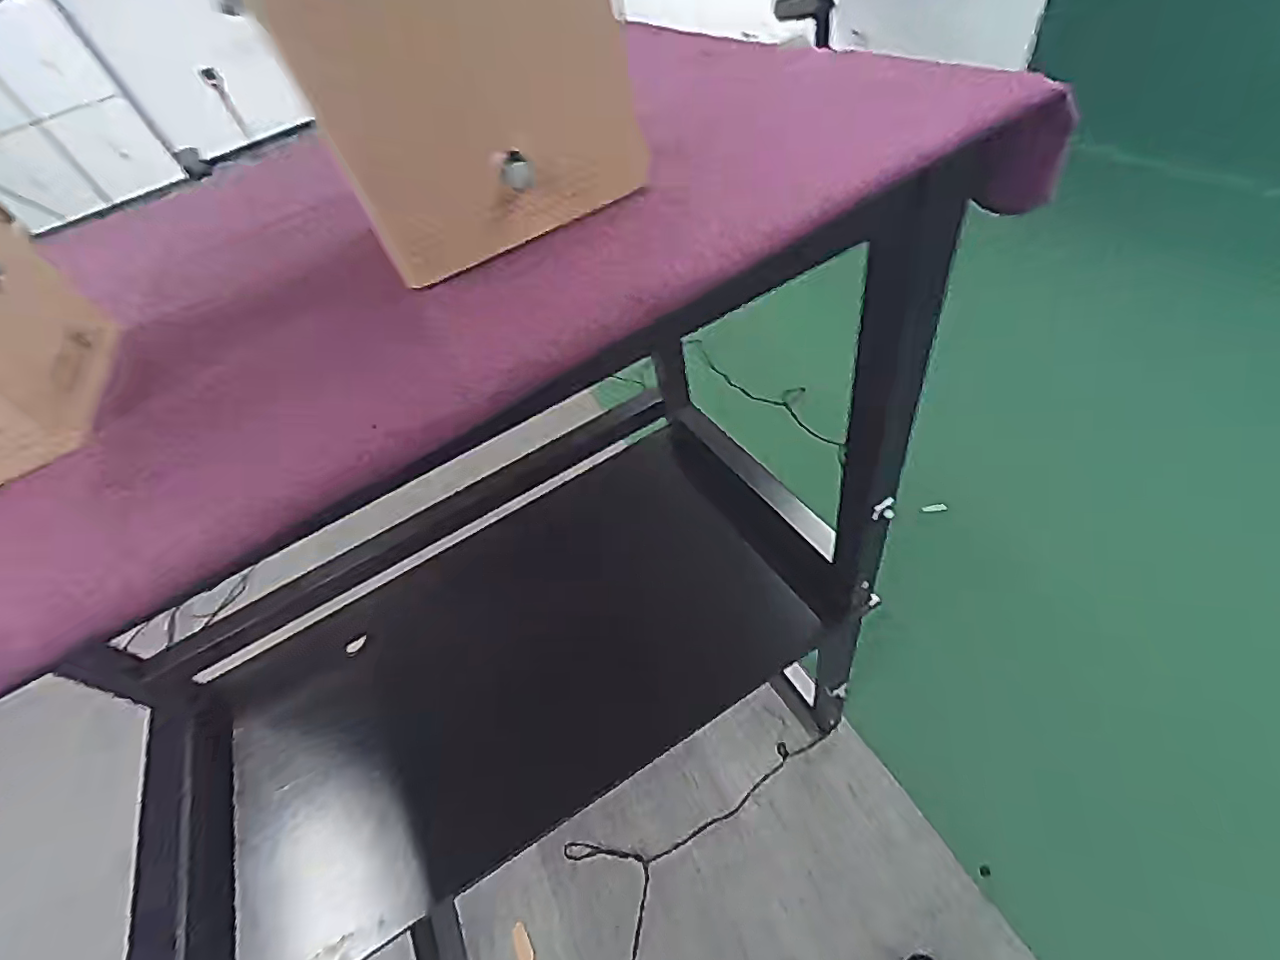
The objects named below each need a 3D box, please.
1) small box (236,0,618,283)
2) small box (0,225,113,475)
[{"bbox_3d":[-0.128,-0.260,0.351,0.179,0.176,0.168,-30,47,-10],"label":"small box"},{"bbox_3d":[-0.448,-0.080,0.286,0.179,0.176,0.168,-30,48,-10],"label":"small box"}]
